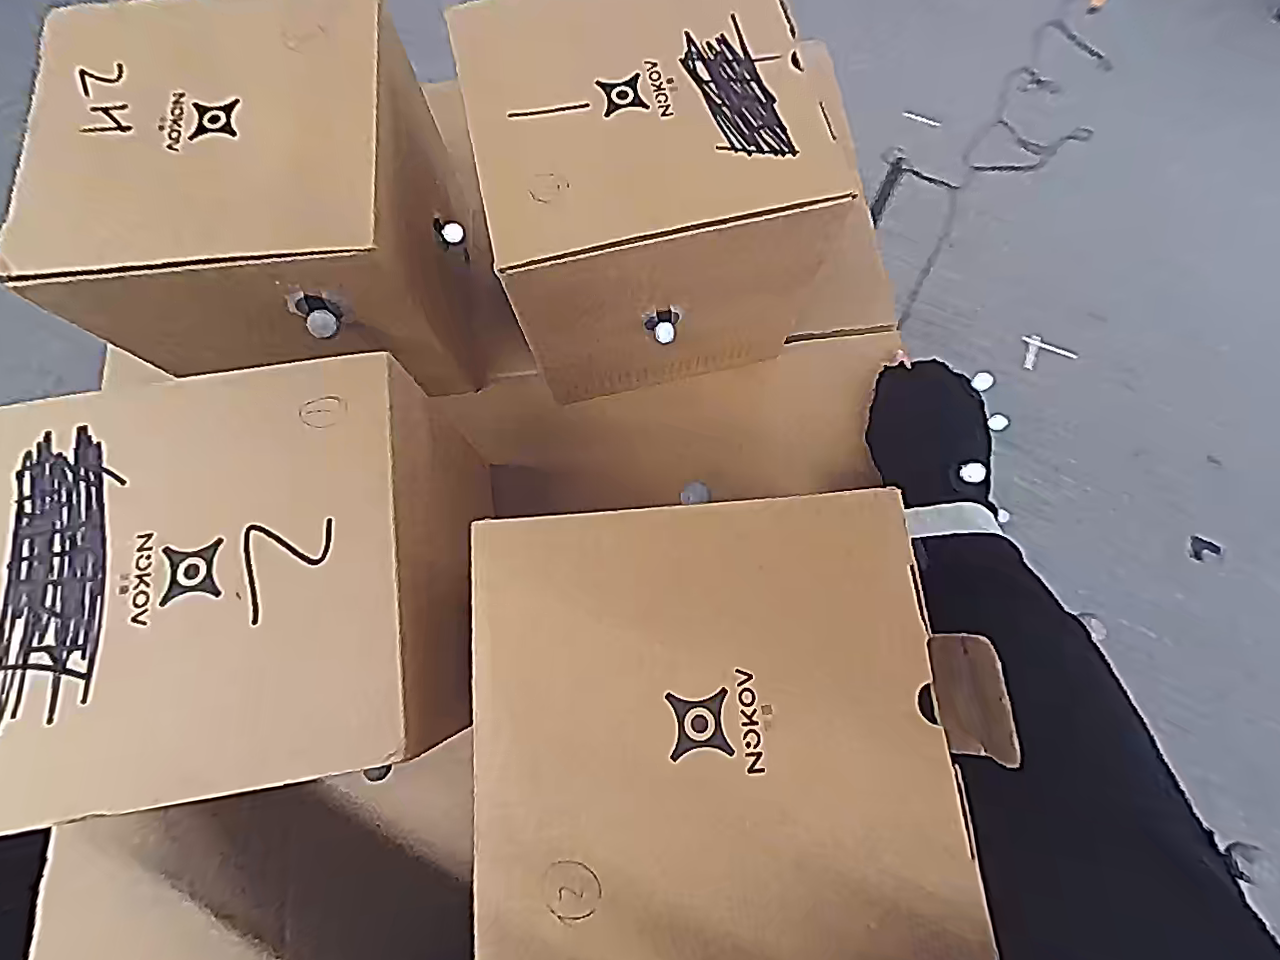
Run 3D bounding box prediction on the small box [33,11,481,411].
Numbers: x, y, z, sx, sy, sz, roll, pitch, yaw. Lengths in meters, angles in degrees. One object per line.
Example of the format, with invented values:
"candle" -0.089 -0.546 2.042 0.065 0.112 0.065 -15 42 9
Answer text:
"small box" -0.212 -0.156 0.359 0.179 0.176 0.168 -5 75 0
